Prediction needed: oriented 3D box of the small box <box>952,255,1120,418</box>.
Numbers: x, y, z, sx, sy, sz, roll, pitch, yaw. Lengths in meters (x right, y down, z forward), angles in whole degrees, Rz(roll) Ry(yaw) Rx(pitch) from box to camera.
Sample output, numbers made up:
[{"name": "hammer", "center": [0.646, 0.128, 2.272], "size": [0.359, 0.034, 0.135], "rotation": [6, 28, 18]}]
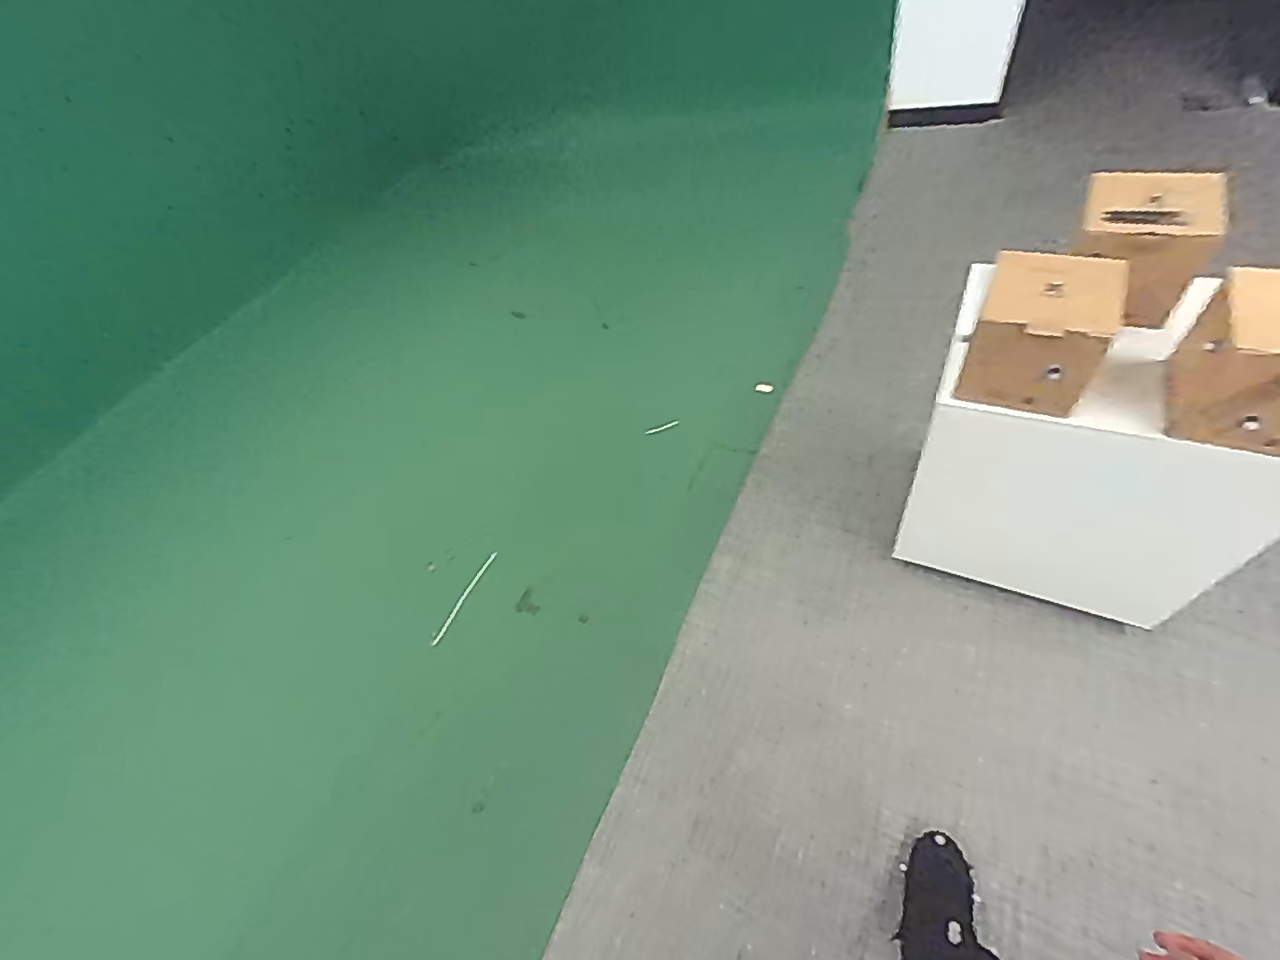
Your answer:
[{"name": "small box", "center": [0.608, -0.223, 0.847], "size": [0.168, 0.176, 0.179], "rotation": [17, 59, 25]}]

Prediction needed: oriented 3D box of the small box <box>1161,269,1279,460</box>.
[{"name": "small box", "center": [0.846, -0.154, 0.726], "size": [0.168, 0.176, 0.179], "rotation": [16, 59, 26]}]
